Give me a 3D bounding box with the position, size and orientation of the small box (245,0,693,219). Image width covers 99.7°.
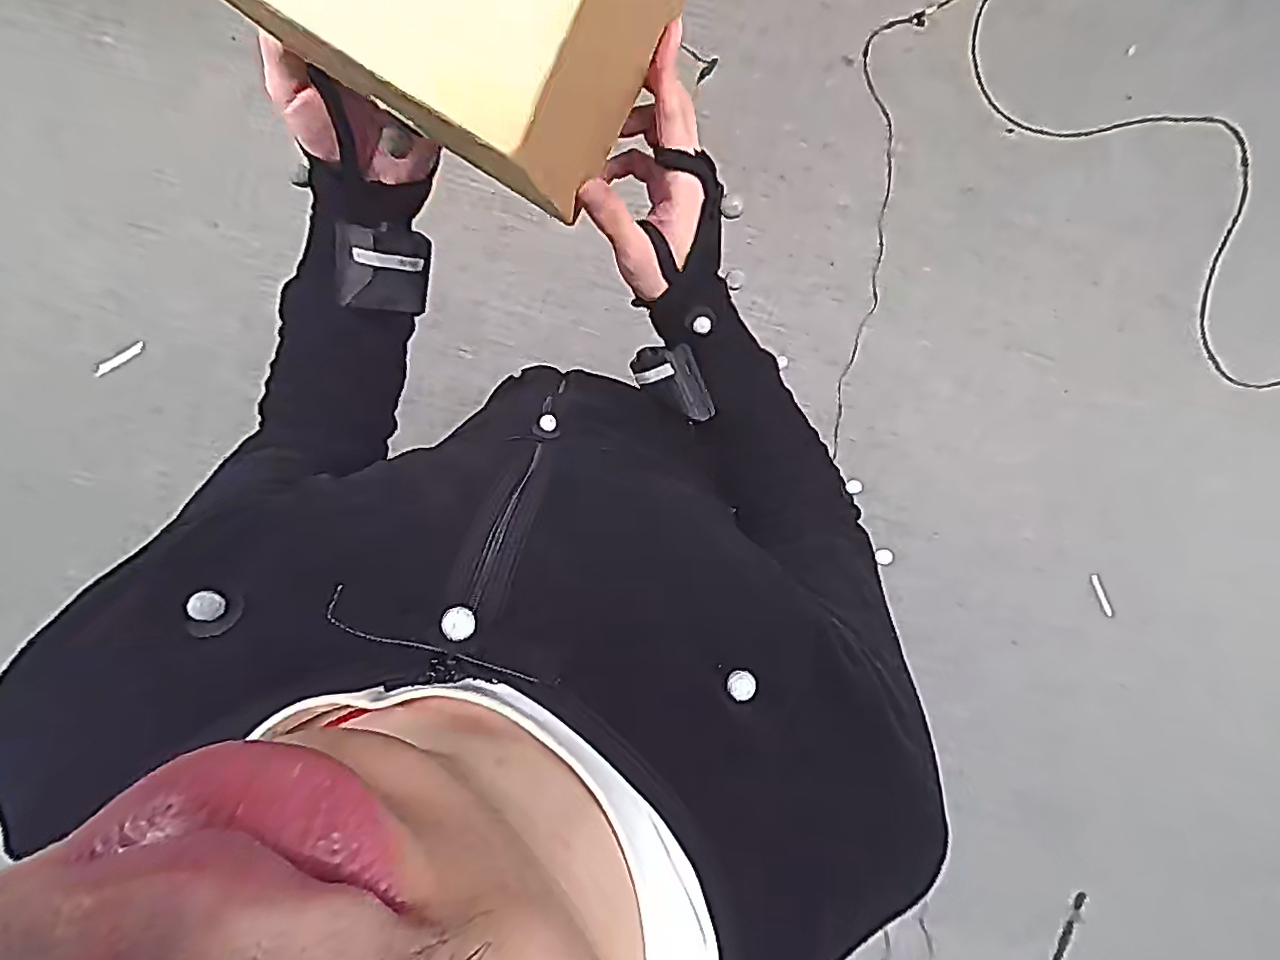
[{"bbox_3d":[-0.064,-0.244,0.232,0.168,0.176,0.179,29,106,-10],"label":"small box"}]
